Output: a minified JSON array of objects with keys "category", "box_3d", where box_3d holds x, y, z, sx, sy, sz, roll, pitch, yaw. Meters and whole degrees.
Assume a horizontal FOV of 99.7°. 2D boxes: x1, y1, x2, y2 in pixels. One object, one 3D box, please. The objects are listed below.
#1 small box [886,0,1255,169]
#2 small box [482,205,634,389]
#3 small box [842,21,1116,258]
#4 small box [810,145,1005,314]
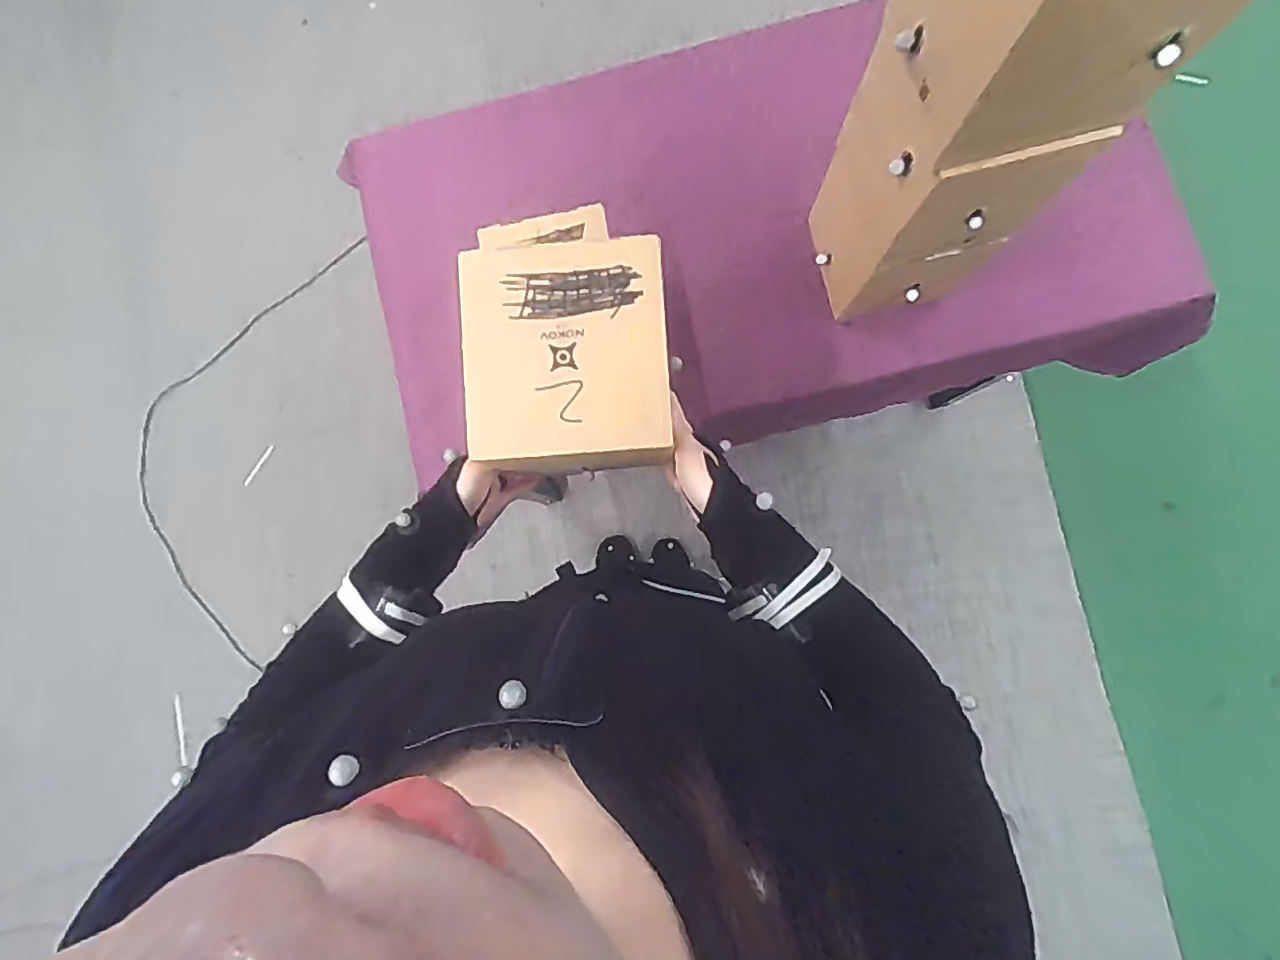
[{"category":"small box","box_3d":[0.323,-0.381,0.416,0.179,0.176,0.168,-13,82,3]},{"category":"small box","box_3d":[-0.105,-0.244,0.756,0.168,0.176,0.179,-11,85,2]},{"category":"small box","box_3d":[0.338,-0.361,0.578,0.168,0.176,0.179,-12,83,2]},{"category":"small box","box_3d":[0.350,-0.345,0.742,0.168,0.176,0.179,-12,84,2]}]
